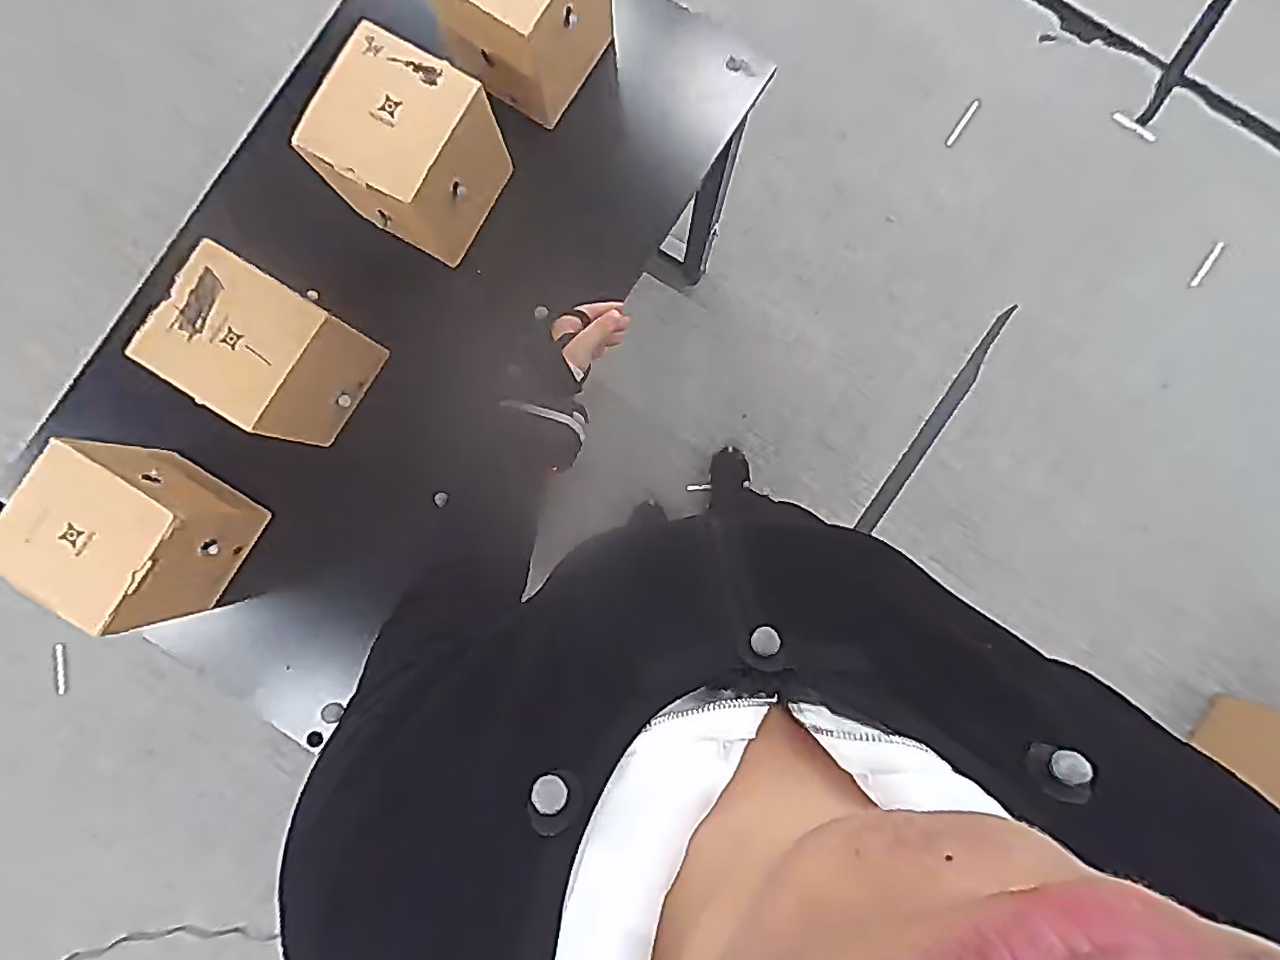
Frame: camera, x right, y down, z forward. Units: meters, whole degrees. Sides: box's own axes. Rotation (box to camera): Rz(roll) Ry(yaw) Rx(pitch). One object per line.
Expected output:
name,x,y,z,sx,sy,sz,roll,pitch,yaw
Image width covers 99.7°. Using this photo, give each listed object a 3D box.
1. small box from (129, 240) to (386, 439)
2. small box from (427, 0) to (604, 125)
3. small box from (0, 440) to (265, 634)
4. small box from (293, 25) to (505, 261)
small box,-0.481,-0.167,0.711,0.179,0.176,0.168,33,88,0
small box,-0.159,-0.636,0.729,0.168,0.176,0.179,33,88,1
small box,-0.646,0.068,0.701,0.179,0.176,0.168,31,86,2
small box,-0.302,-0.429,0.723,0.168,0.176,0.179,29,89,1
